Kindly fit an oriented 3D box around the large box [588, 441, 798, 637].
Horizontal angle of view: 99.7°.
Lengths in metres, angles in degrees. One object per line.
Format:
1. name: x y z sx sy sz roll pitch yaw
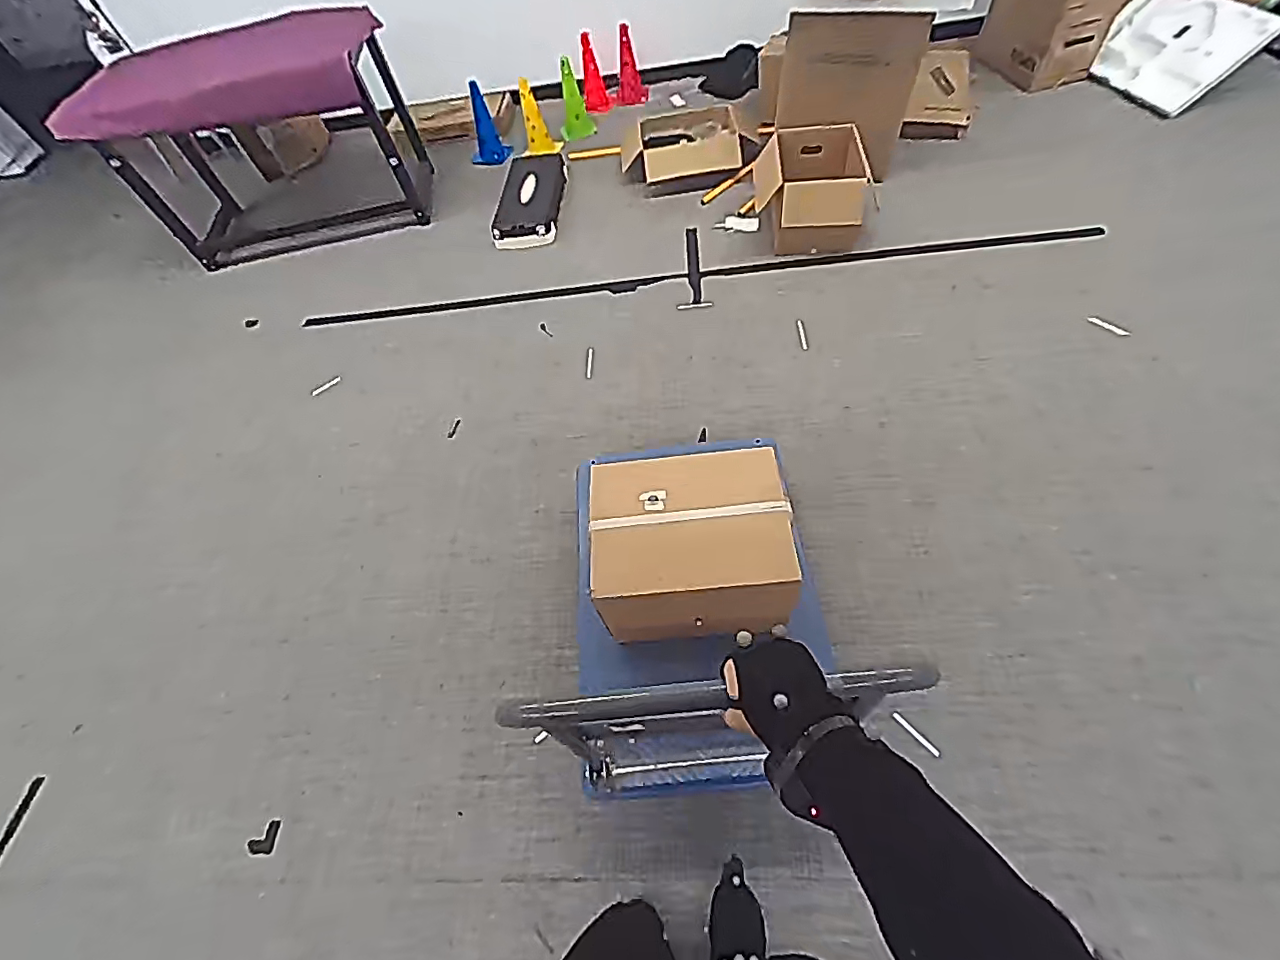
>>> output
1. large box: 0.113 0.147 1.225 0.408 0.320 0.320 -7 56 5
